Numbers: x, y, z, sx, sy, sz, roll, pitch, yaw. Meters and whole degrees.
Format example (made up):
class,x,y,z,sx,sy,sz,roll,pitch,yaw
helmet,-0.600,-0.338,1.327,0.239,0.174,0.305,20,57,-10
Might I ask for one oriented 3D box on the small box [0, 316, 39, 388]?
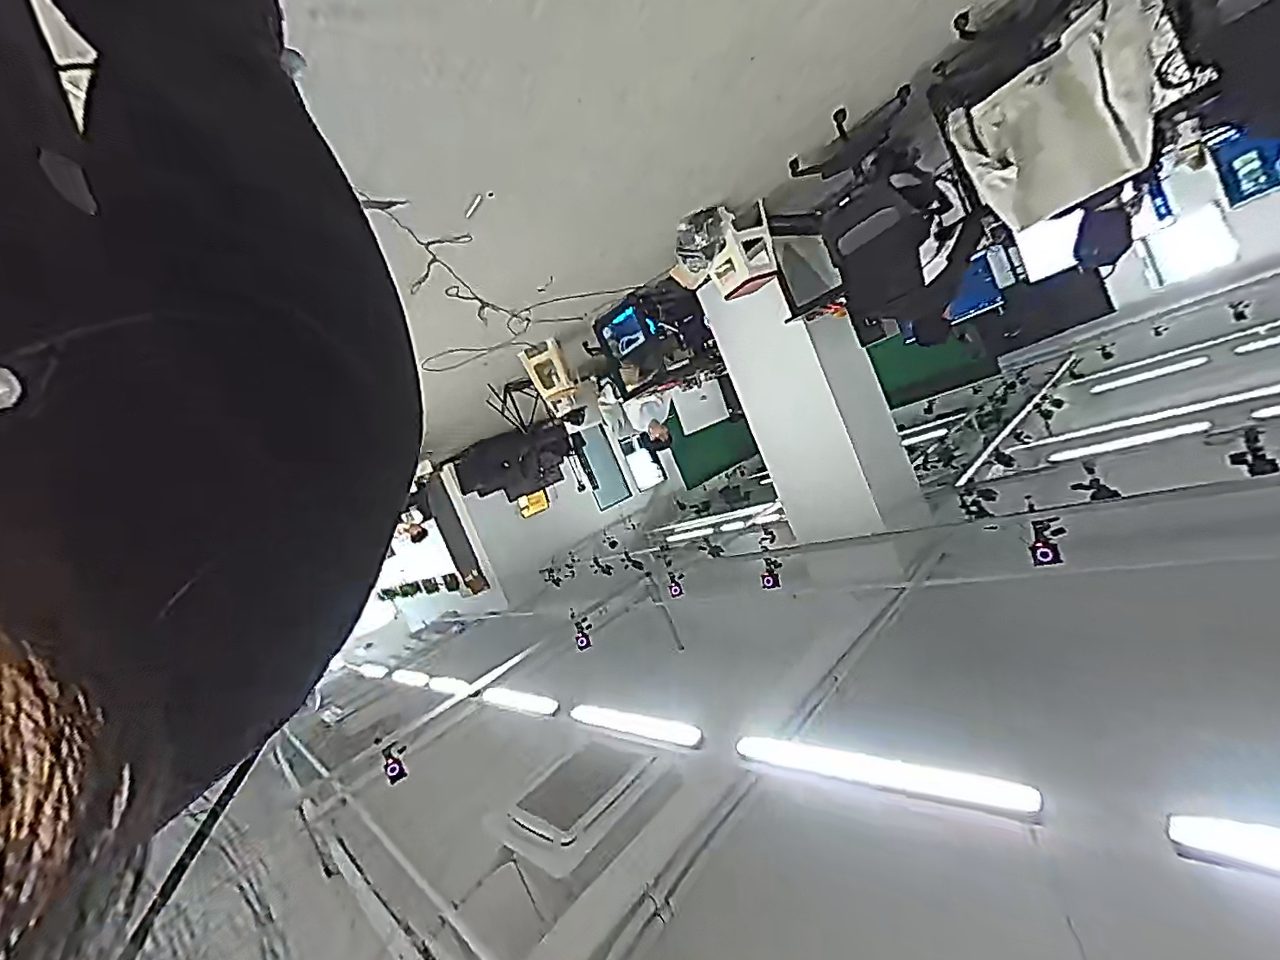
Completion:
class,x,y,z,sx,sy,sz,roll,pitch,yaw
small box,-2.031,-0.392,1.675,0.168,0.176,0.179,-26,-177,-40
